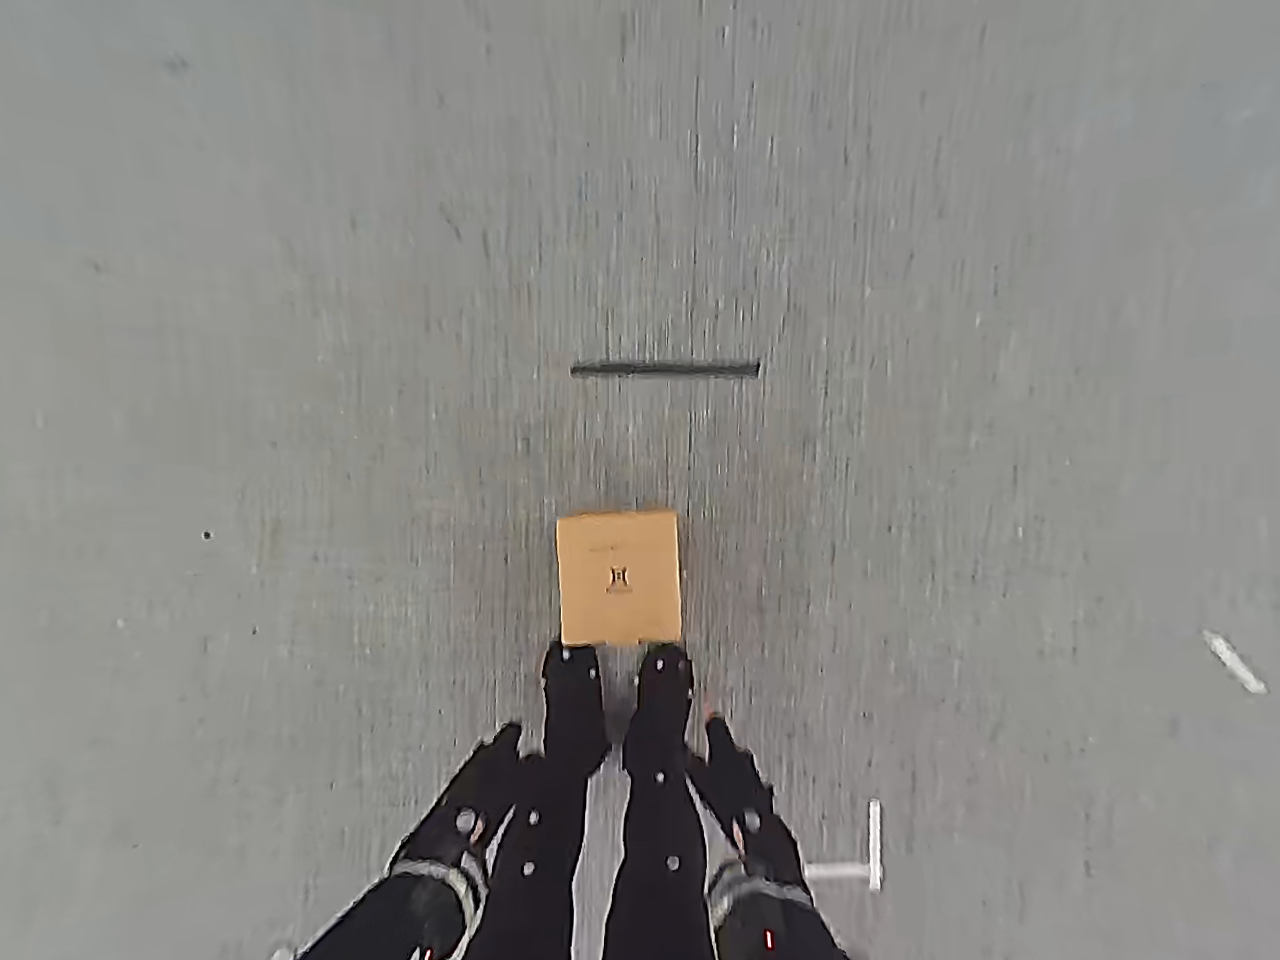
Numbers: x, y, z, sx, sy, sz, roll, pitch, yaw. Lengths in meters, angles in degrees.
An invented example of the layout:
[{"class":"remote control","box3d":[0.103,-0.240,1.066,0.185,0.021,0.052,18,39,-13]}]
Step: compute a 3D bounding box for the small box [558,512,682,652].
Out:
[{"class":"small box","box3d":[-0.027,0.143,0.812,0.168,0.176,0.179,-3,89,-1]}]
